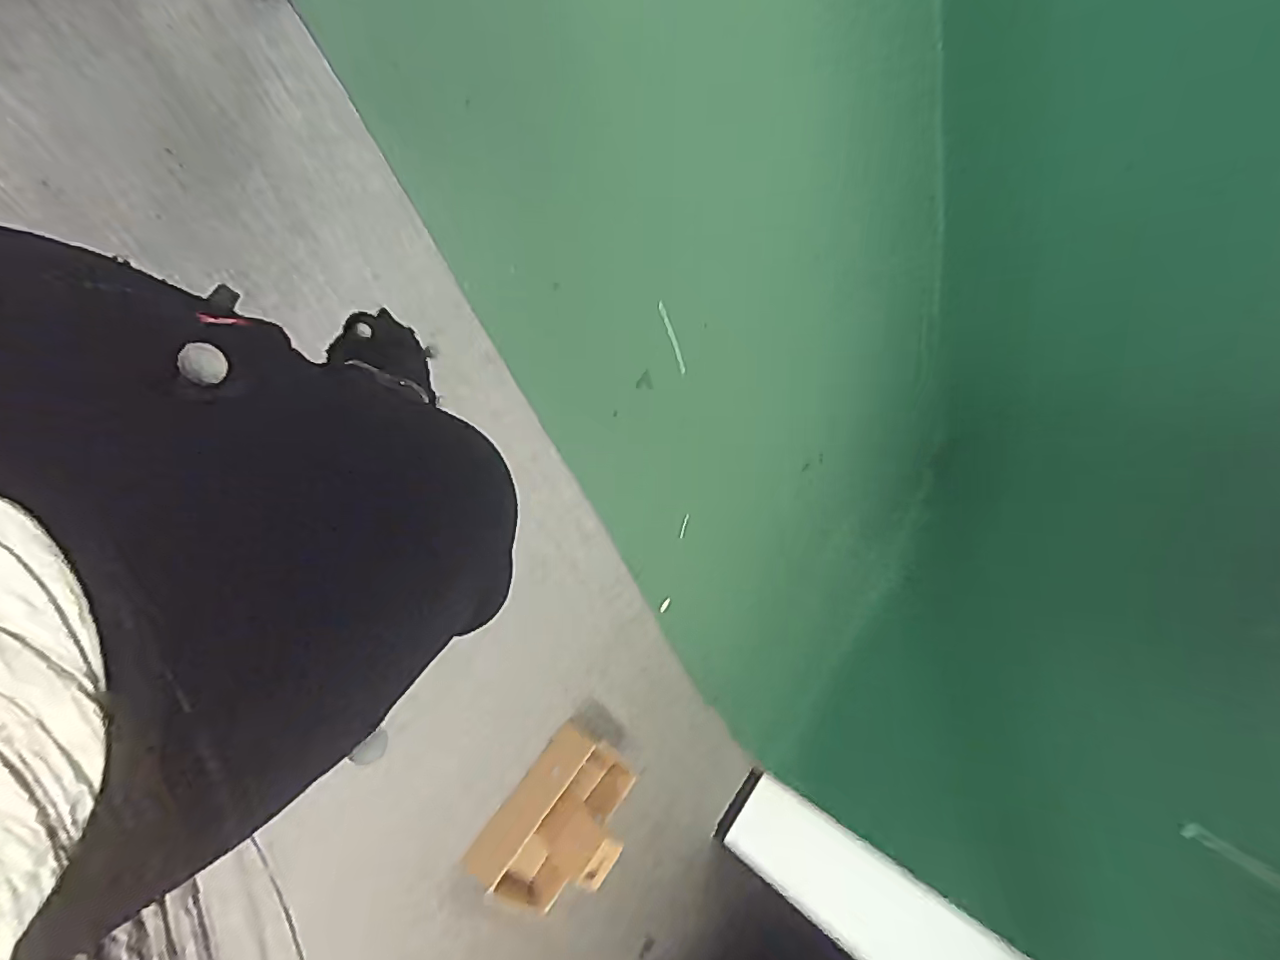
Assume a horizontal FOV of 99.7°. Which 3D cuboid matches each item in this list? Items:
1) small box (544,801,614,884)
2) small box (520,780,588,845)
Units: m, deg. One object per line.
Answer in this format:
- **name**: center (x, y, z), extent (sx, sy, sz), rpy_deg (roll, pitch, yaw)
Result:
- **small box**: center (-0.236, 1.343, 2.007), extent (0.179, 0.176, 0.168), rpy_deg (-49, 134, -22)
- **small box**: center (-0.336, 1.309, 2.110), extent (0.168, 0.176, 0.179), rpy_deg (-49, 135, -21)
